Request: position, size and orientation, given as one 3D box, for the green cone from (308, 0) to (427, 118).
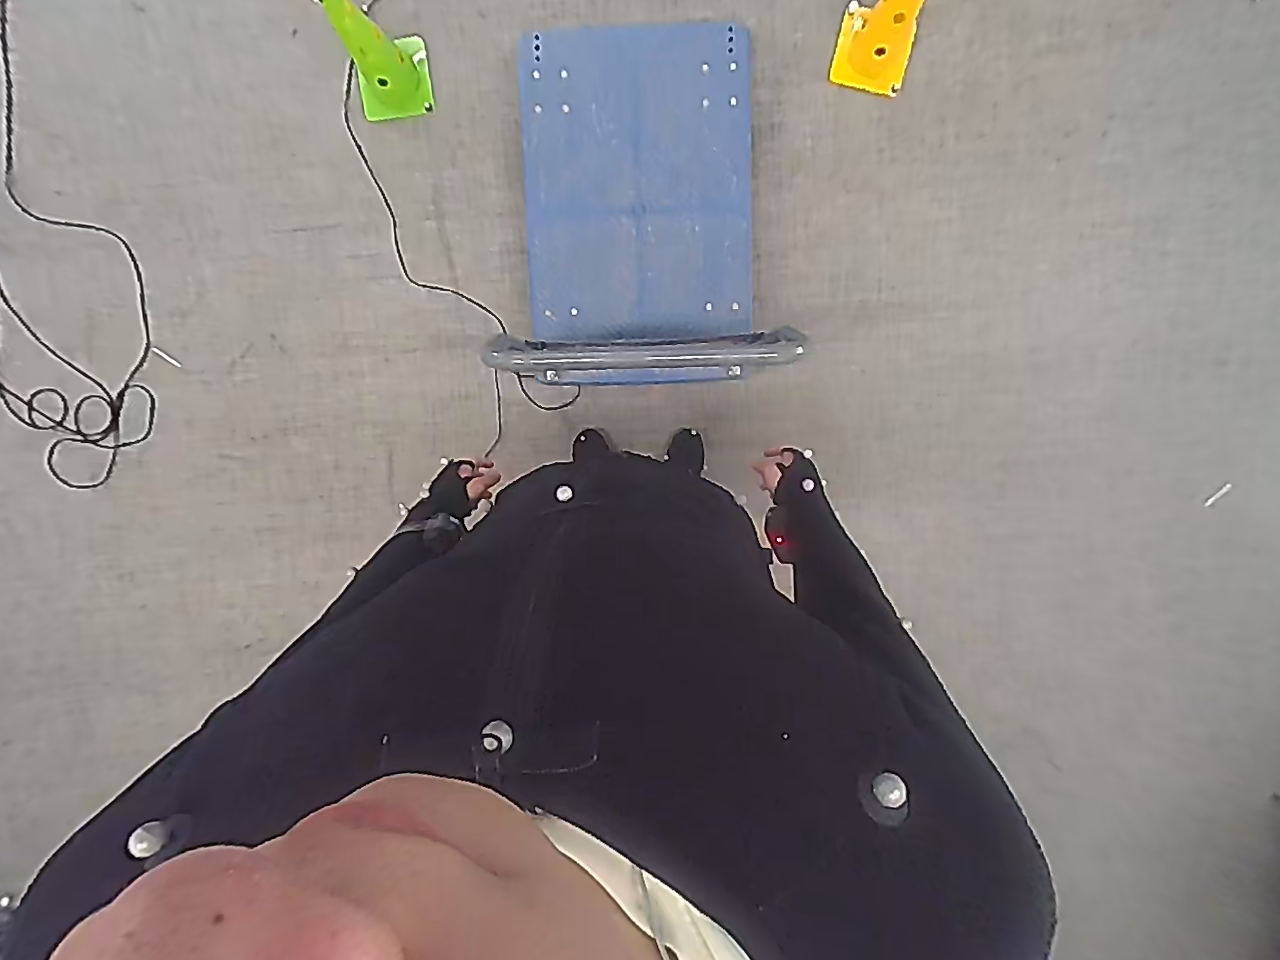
[{"bbox_3d":[-0.705,-1.100,1.324,0.202,0.368,0.200,-8,96,3],"label":"green cone"}]
